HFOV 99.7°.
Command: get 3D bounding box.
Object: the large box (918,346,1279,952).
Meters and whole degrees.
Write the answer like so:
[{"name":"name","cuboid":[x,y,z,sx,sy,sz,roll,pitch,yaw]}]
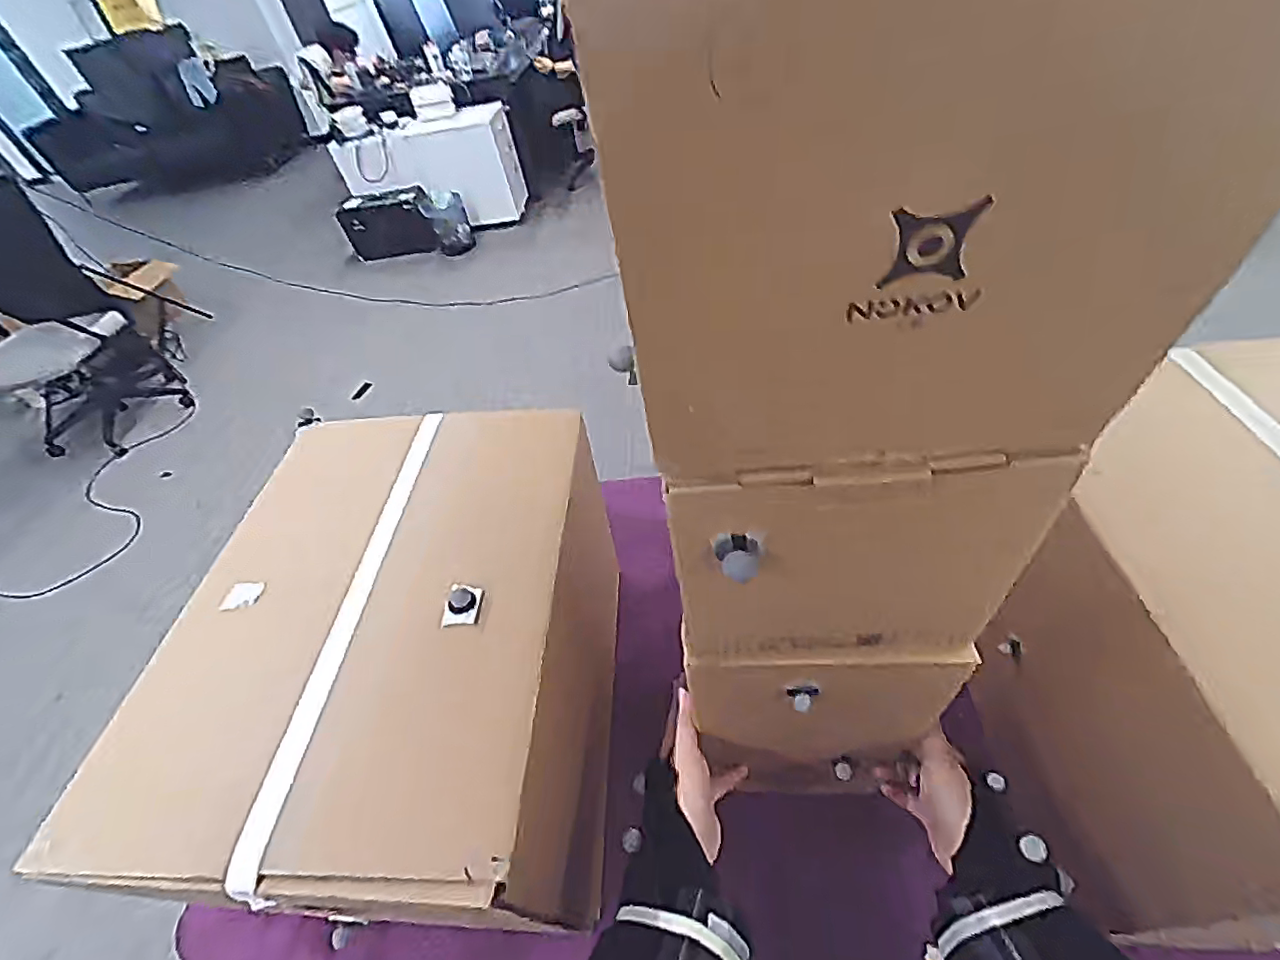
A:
[{"name":"large box","cuboid":[0.493,0.136,0.469,0.320,0.320,0.408,-4,46,7]}]
